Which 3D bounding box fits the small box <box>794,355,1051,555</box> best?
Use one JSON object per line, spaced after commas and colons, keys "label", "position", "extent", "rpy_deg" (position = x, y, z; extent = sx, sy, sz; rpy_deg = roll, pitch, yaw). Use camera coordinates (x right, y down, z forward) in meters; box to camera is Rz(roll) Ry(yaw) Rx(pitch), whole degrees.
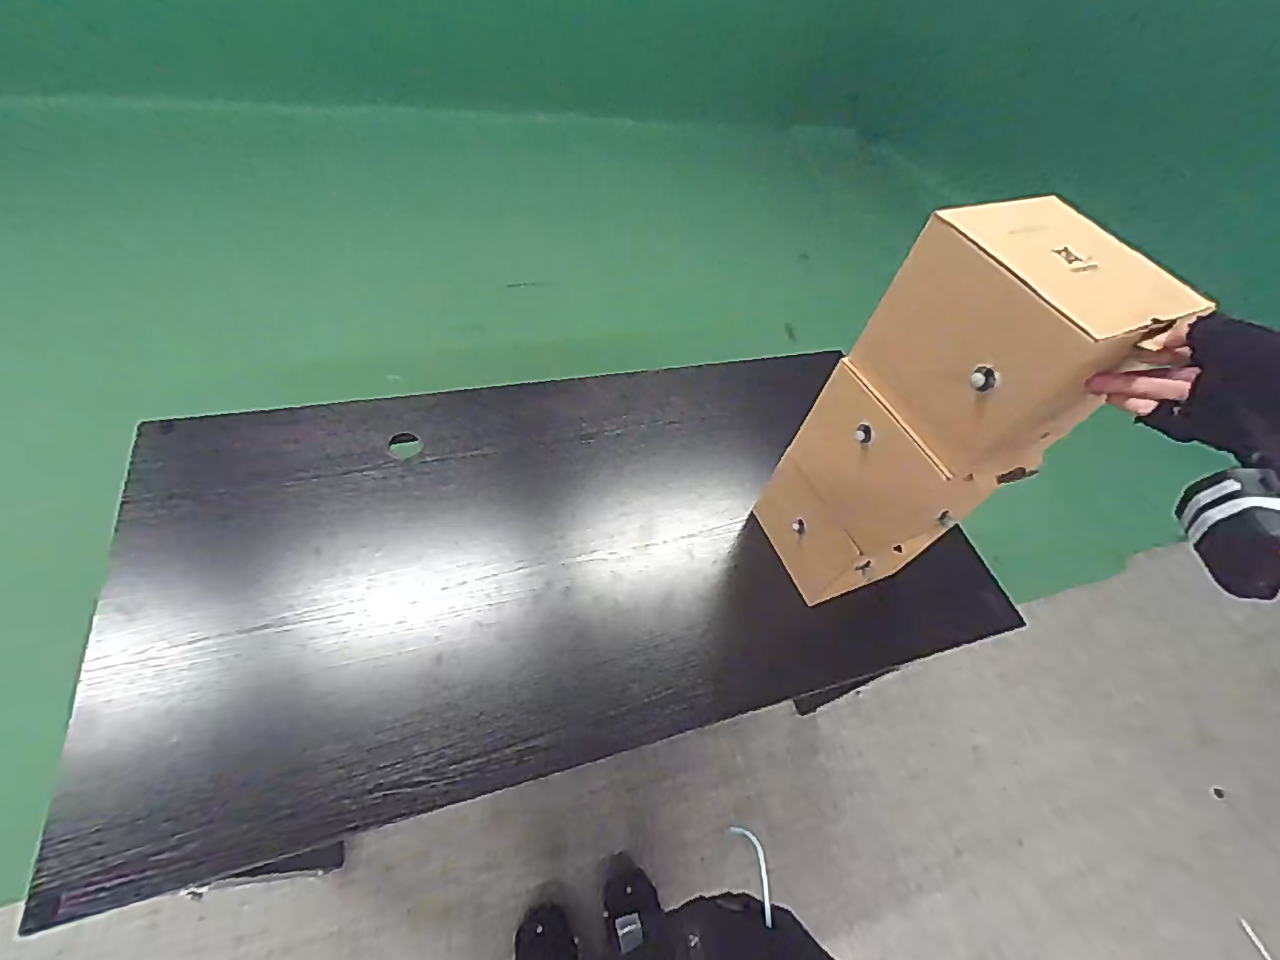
{"label": "small box", "position": [0.316, -0.040, 0.648], "extent": [0.168, 0.176, 0.179], "rpy_deg": [-17, 60, -20]}

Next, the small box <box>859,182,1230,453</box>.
{"label": "small box", "position": [0.348, -0.144, 0.504], "extent": [0.168, 0.176, 0.179], "rpy_deg": [-17, 59, -21]}
